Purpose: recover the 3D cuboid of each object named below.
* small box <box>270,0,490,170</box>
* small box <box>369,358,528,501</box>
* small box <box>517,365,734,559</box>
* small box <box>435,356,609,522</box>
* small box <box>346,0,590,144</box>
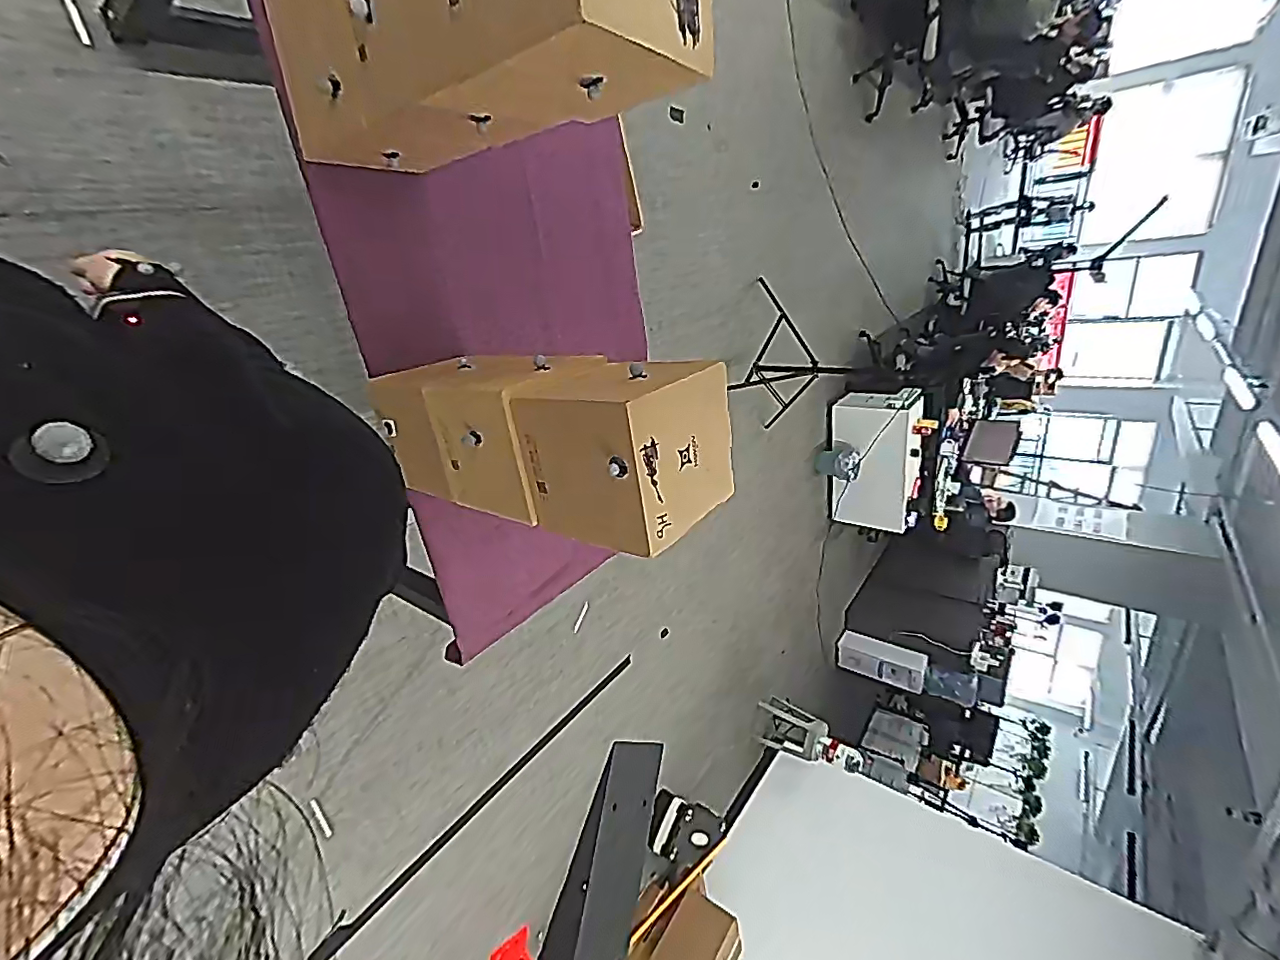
[{"bbox_3d":[-0.311,-0.493,0.658,0.168,0.176,0.179,-26,118,-46],"label":"small box"},{"bbox_3d":[-0.269,-0.087,0.815,0.179,0.176,0.168,-30,120,-43],"label":"small box"},{"bbox_3d":[-0.010,-0.035,0.621,0.179,0.176,0.168,-32,121,-45],"label":"small box"},{"bbox_3d":[-0.145,-0.062,0.712,0.179,0.176,0.168,-32,121,-44],"label":"small box"},{"bbox_3d":[-0.177,-0.468,0.565,0.179,0.176,0.168,-26,119,-45],"label":"small box"}]
